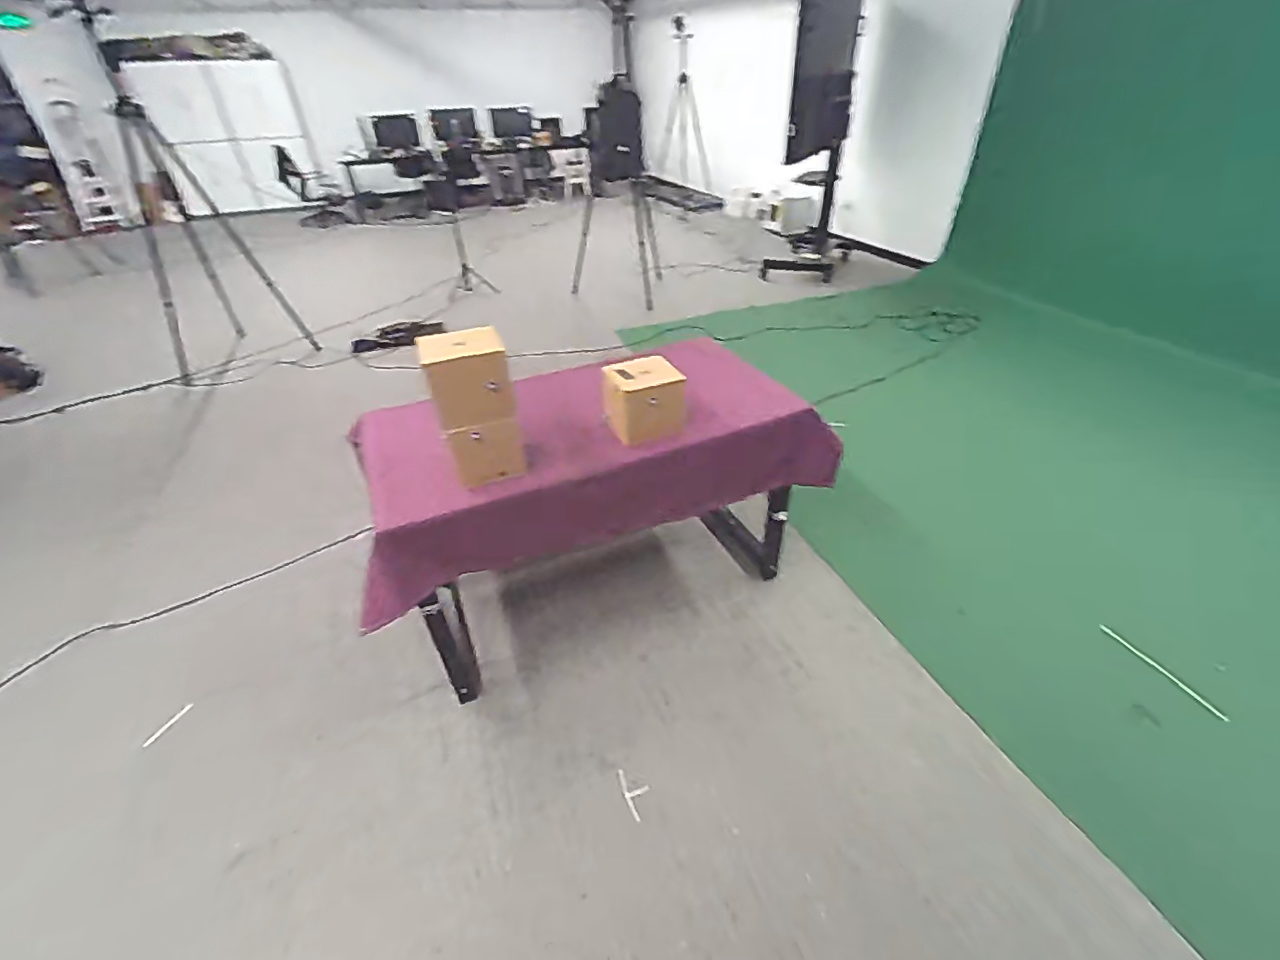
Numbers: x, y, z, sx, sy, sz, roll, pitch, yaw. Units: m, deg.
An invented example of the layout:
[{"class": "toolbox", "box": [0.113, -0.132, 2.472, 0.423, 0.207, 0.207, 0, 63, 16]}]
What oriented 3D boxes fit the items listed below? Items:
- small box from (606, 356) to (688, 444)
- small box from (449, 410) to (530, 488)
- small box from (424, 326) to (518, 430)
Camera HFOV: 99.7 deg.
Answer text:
[{"class": "small box", "box": [0.021, -0.217, 1.477, 0.179, 0.176, 0.168, -15, 39, -17]}, {"class": "small box", "box": [-0.383, -0.106, 1.354, 0.168, 0.176, 0.179, -16, 38, -16]}, {"class": "small box", "box": [-0.388, -0.237, 1.256, 0.179, 0.176, 0.168, -15, 38, -15]}]
